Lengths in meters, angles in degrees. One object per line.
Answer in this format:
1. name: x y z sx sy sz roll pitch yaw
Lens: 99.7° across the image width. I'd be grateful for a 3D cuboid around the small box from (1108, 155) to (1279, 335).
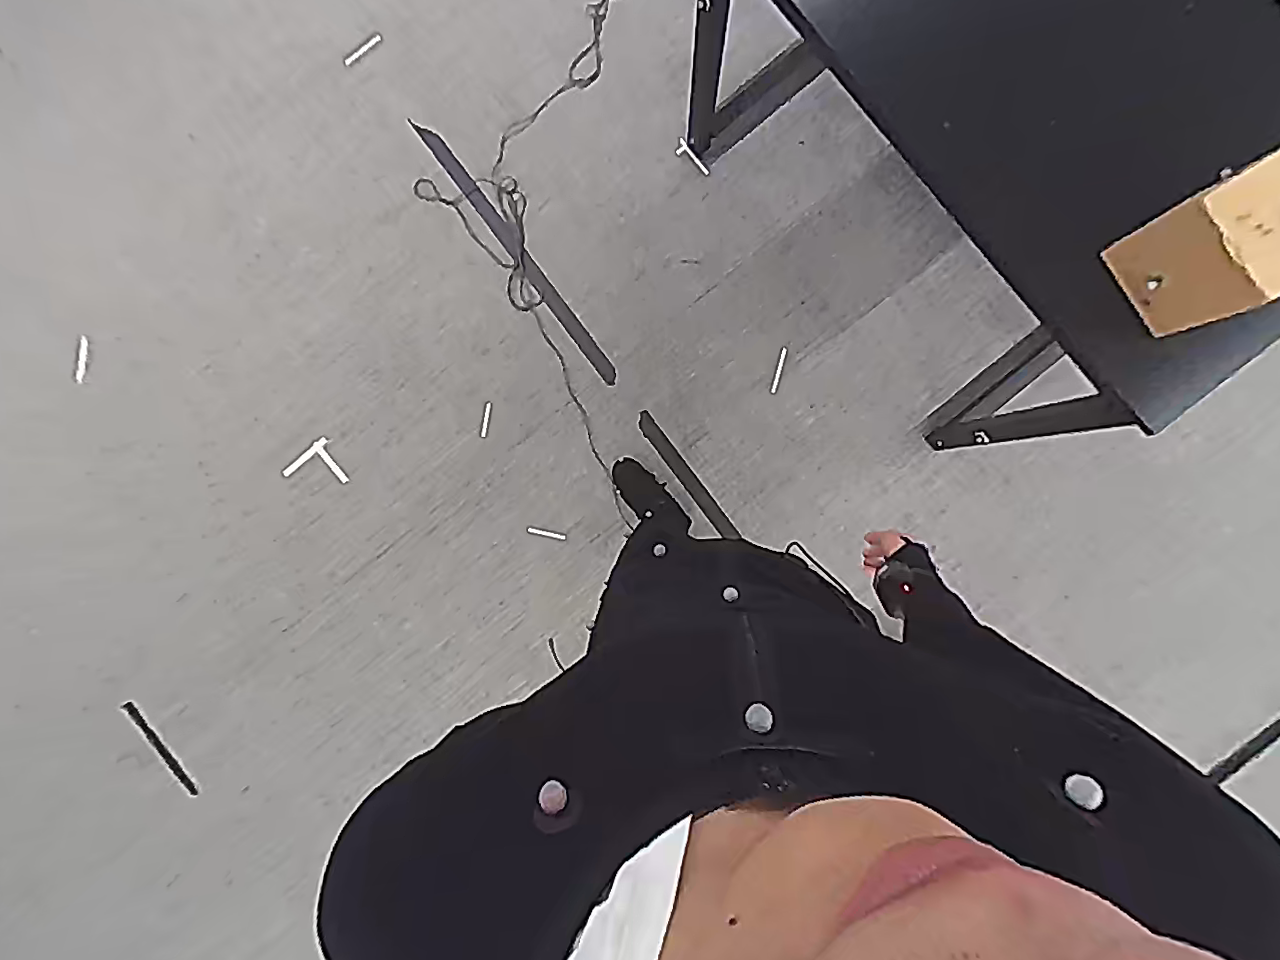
1. small box: 0.861 -0.342 0.791 0.179 0.176 0.168 -31 88 2
